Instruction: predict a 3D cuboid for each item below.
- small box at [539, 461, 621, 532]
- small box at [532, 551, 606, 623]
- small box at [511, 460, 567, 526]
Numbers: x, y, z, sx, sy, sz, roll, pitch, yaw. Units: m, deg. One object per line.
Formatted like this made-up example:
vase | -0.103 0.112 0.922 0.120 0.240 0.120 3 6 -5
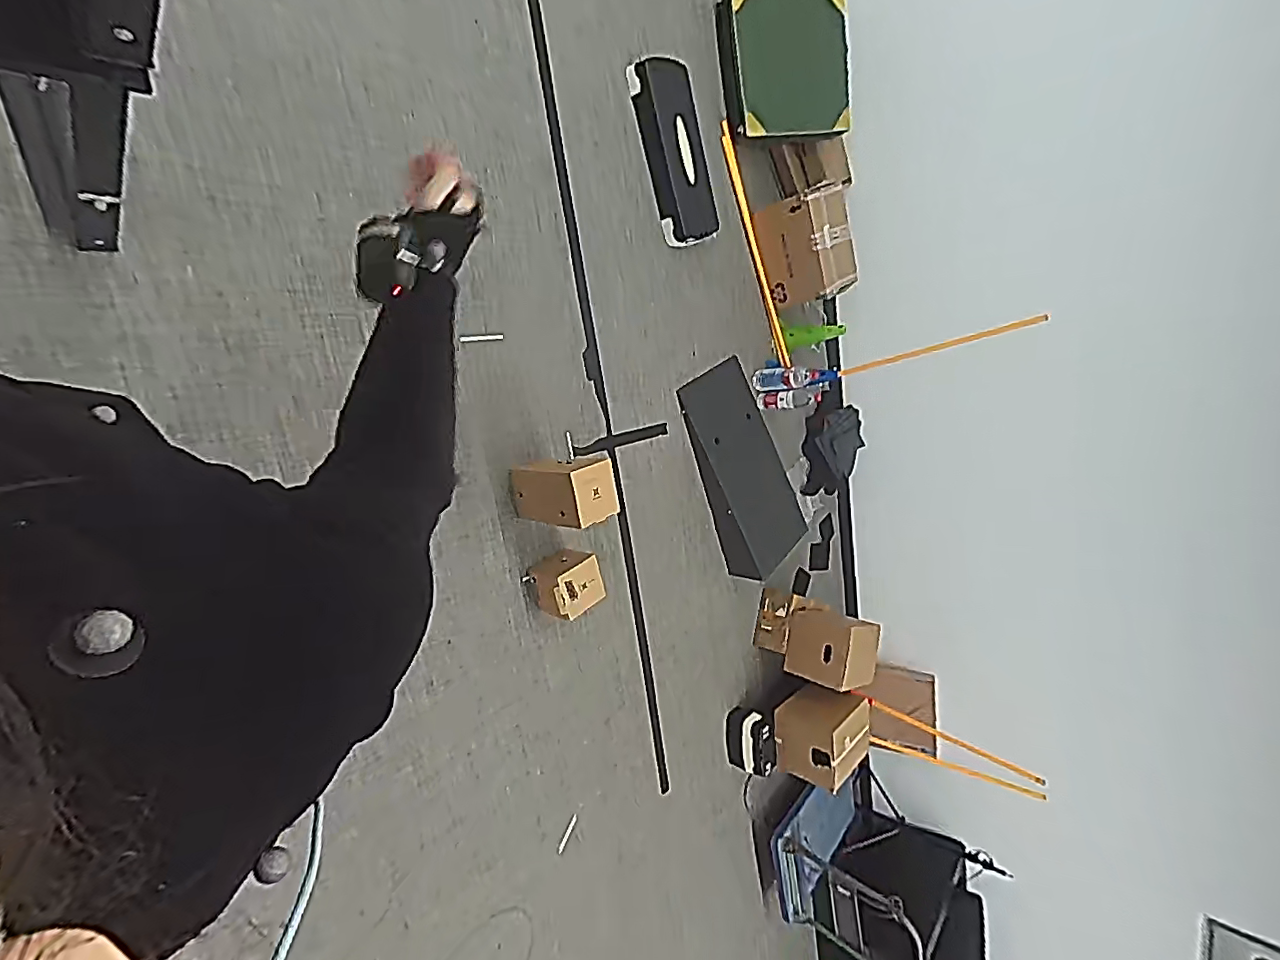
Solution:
small box | -0.186 0.044 1.659 0.168 0.176 0.179 -22 108 -43
small box | -0.249 0.360 1.851 0.179 0.176 0.168 -29 113 -42
small box | -0.301 0.038 1.776 0.168 0.176 0.179 -20 107 -44
